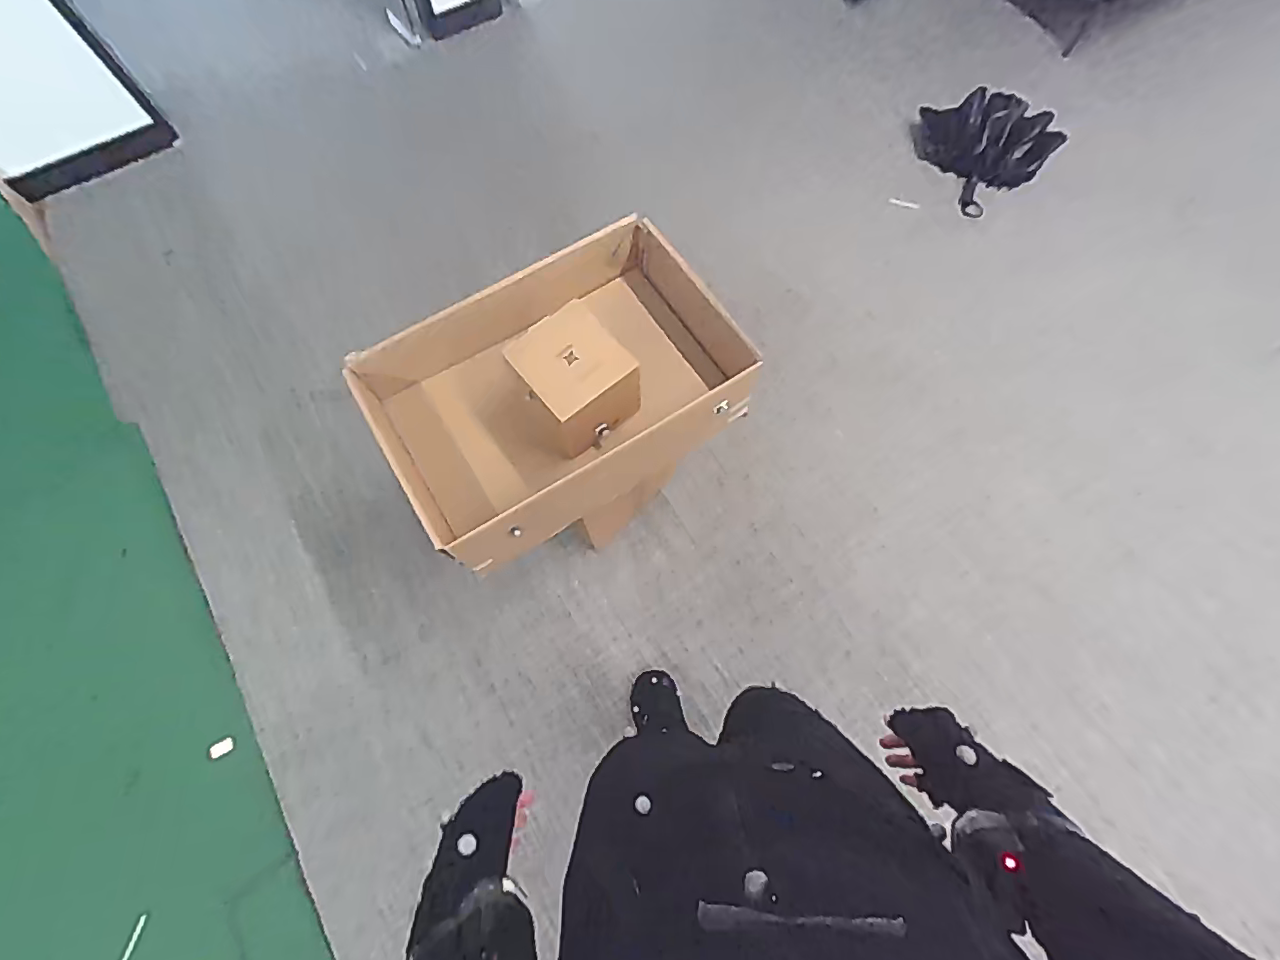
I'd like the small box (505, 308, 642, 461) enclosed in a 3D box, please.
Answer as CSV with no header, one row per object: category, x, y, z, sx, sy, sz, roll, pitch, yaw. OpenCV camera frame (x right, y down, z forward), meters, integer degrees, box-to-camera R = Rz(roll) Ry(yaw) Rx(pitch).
small box,-0.113,-0.163,0.974,0.168,0.176,0.179,-38,75,-12
